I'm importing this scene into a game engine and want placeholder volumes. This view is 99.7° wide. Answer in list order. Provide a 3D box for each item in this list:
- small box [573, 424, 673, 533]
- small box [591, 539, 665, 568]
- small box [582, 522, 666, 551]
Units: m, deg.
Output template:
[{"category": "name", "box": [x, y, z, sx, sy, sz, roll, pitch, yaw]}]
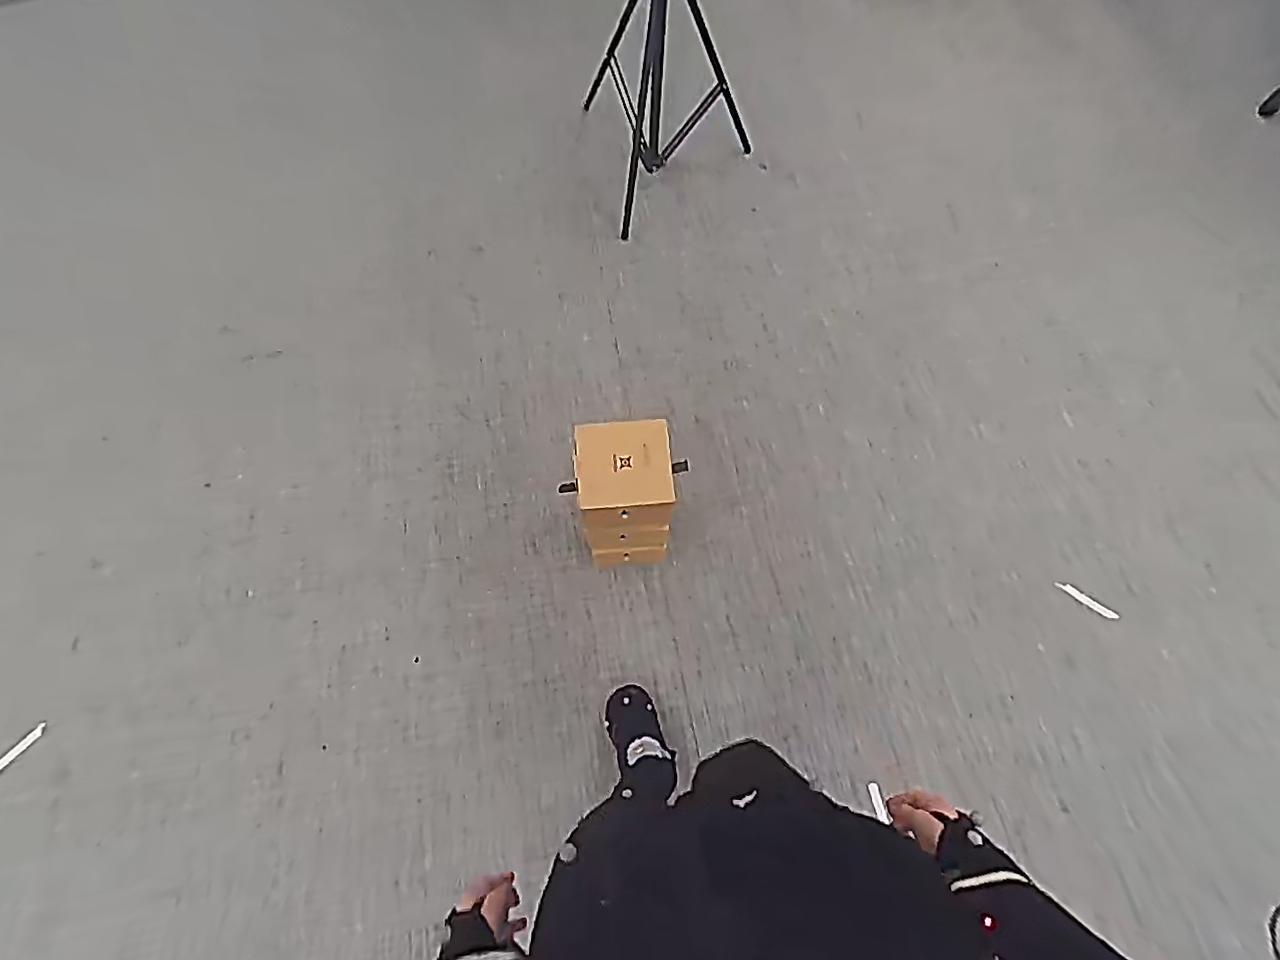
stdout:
[{"category": "small box", "box": [-0.033, 0.003, 1.062, 0.179, 0.176, 0.168, -5, 72, -3]}, {"category": "small box", "box": [-0.035, 0.124, 1.365, 0.179, 0.176, 0.168, -5, 71, -3]}, {"category": "small box", "box": [-0.035, 0.063, 1.212, 0.179, 0.176, 0.168, -2, 72, -2]}]
